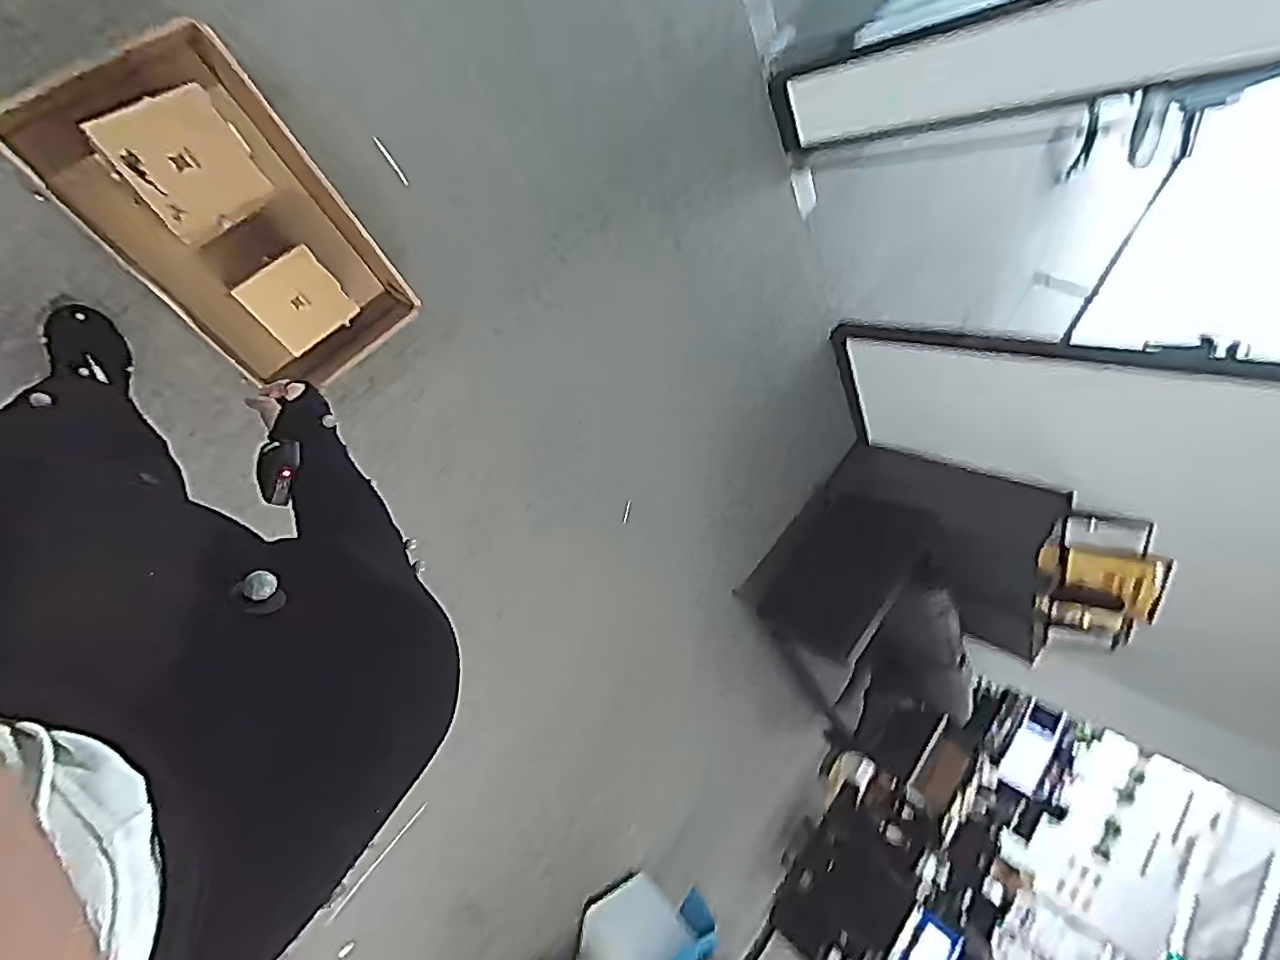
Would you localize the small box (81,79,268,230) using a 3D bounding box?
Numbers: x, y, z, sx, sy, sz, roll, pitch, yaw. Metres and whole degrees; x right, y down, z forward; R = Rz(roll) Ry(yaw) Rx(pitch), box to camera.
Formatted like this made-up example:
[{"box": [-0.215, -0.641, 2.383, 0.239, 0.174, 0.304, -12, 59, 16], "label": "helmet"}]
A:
[{"box": [-0.788, -0.545, 0.920, 0.179, 0.176, 0.168, -43, 132, -22], "label": "small box"}]

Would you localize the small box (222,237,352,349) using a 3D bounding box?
[{"box": [-0.790, -0.417, 1.208, 0.179, 0.176, 0.168, -47, 132, -18], "label": "small box"}]

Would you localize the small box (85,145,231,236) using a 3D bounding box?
[{"box": [-0.894, -0.589, 1.038, 0.179, 0.176, 0.168, -48, 134, -17], "label": "small box"}]
